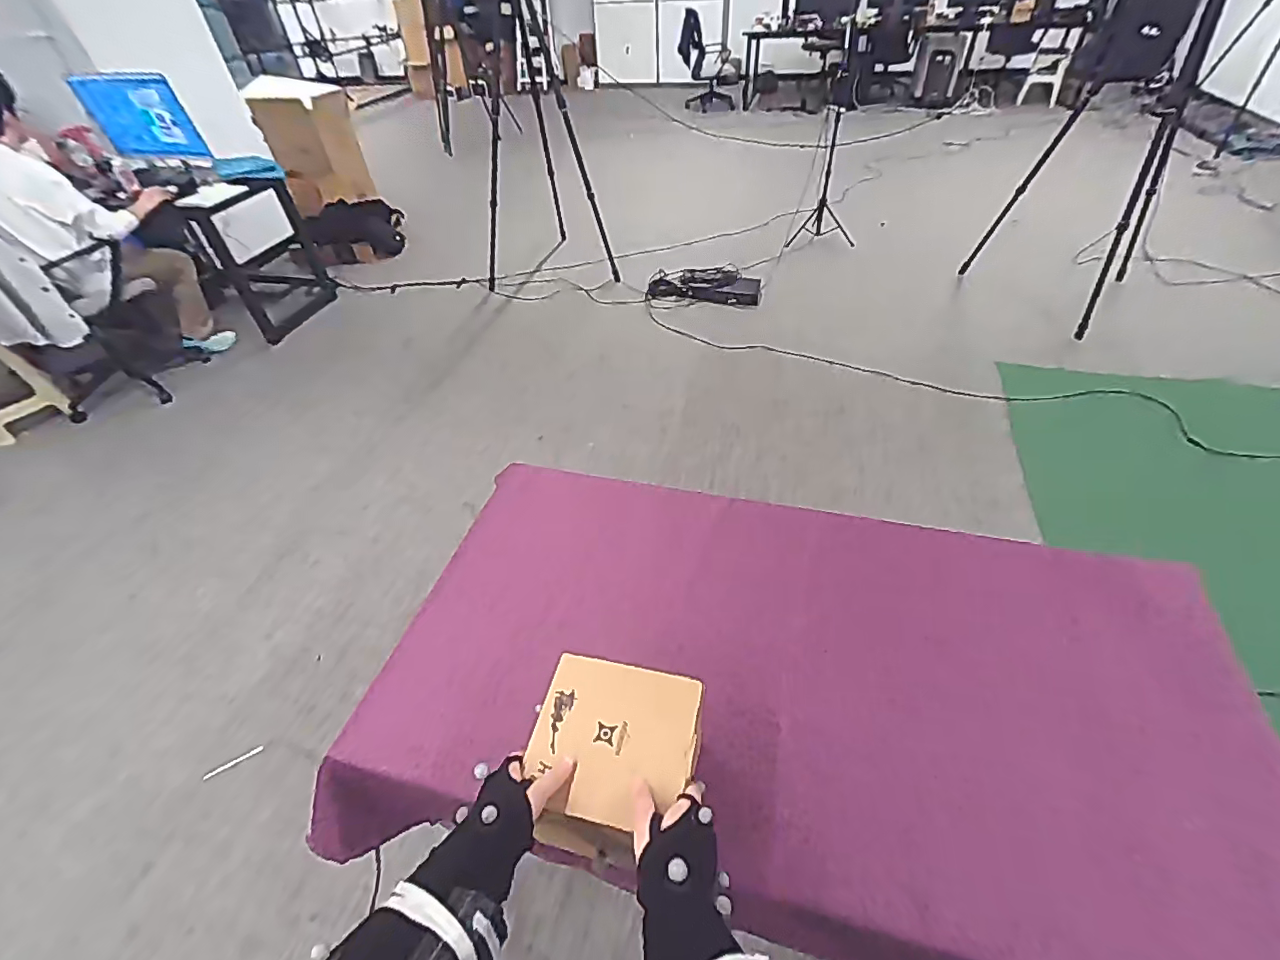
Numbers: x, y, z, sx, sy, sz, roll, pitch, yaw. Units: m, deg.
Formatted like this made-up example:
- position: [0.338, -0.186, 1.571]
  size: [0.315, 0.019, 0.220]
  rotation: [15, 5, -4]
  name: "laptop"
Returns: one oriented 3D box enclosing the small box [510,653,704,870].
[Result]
- position: [-0.027, 0.335, 0.641]
  size: [0.179, 0.176, 0.168]
  rotation: [9, 45, 11]
  name: "small box"
